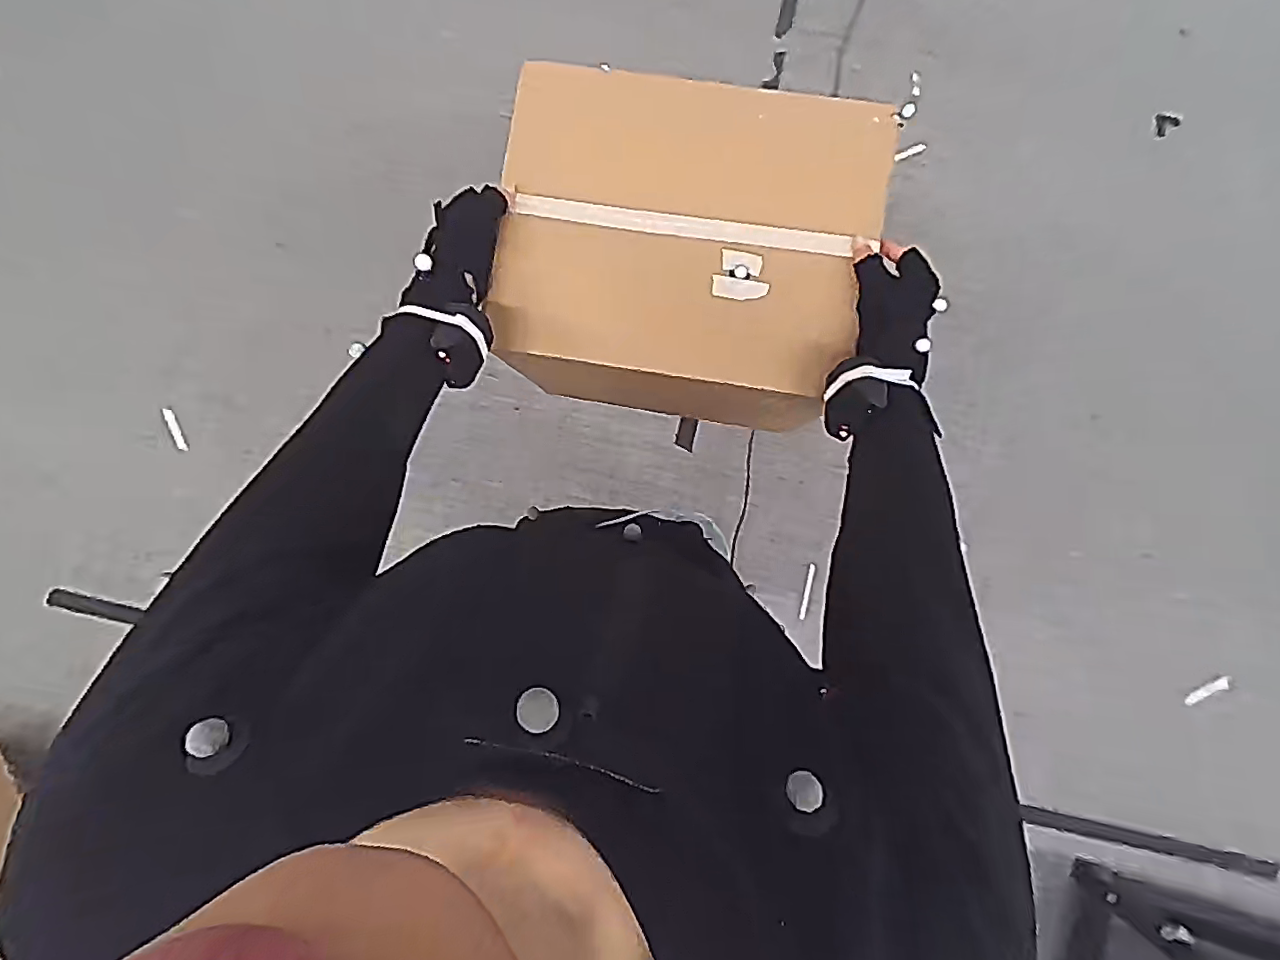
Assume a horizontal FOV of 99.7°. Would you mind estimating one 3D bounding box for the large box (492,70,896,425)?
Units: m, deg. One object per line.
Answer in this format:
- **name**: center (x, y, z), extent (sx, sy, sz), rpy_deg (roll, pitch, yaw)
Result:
- **large box**: center (0.060, -0.270, 0.731), extent (0.408, 0.320, 0.320), rpy_deg (10, 90, 3)
